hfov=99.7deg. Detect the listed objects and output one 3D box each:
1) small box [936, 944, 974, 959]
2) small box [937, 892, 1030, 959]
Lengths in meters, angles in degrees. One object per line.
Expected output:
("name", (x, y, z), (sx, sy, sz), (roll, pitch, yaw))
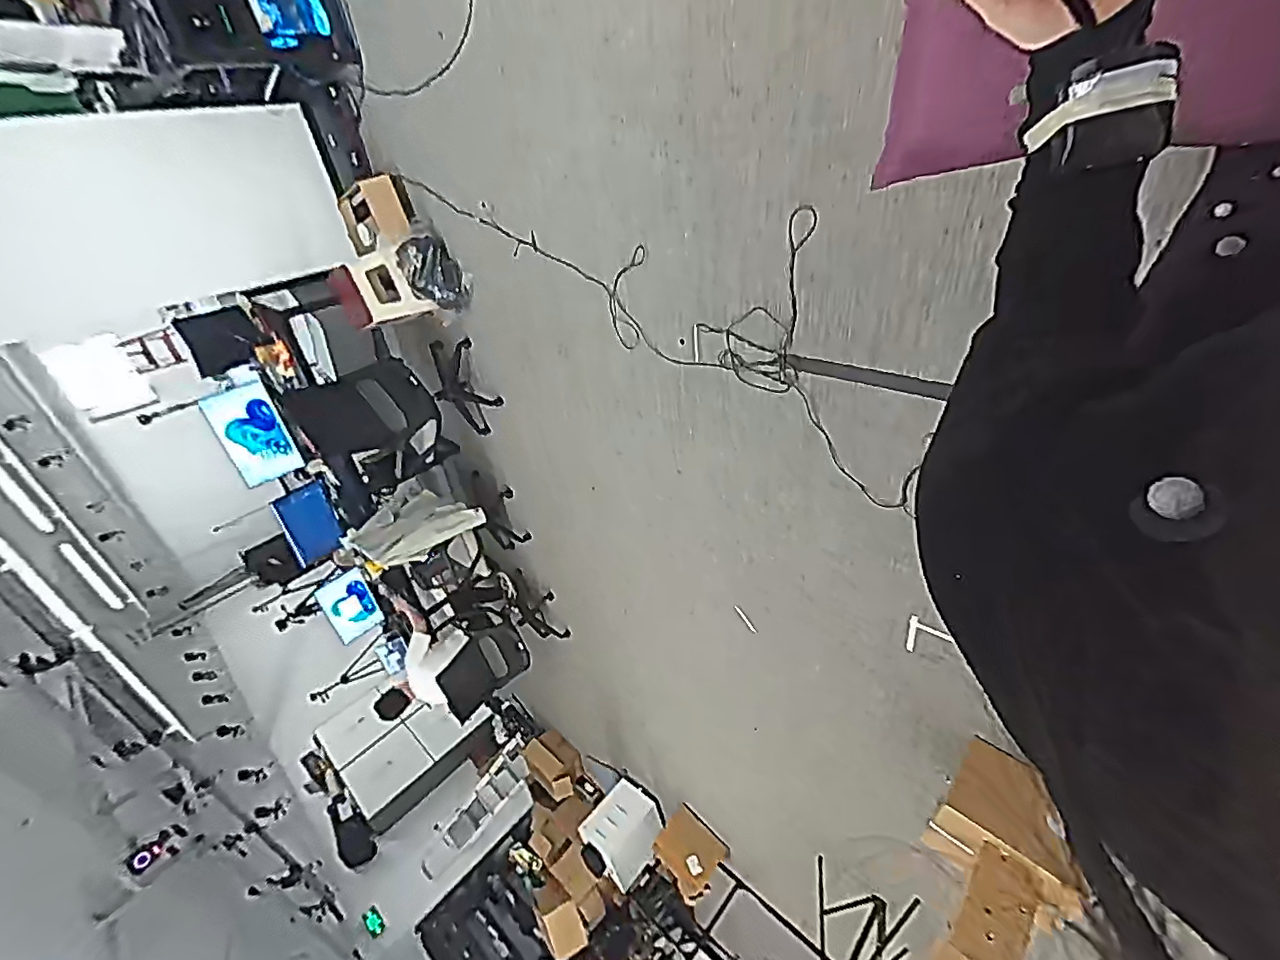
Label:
("small box", (0.881, 1.421, 1.468), (0.168, 0.176, 0.179), (25, 136, 36))
("small box", (0.993, 1.347, 1.561), (0.168, 0.176, 0.179), (27, 136, 34))
